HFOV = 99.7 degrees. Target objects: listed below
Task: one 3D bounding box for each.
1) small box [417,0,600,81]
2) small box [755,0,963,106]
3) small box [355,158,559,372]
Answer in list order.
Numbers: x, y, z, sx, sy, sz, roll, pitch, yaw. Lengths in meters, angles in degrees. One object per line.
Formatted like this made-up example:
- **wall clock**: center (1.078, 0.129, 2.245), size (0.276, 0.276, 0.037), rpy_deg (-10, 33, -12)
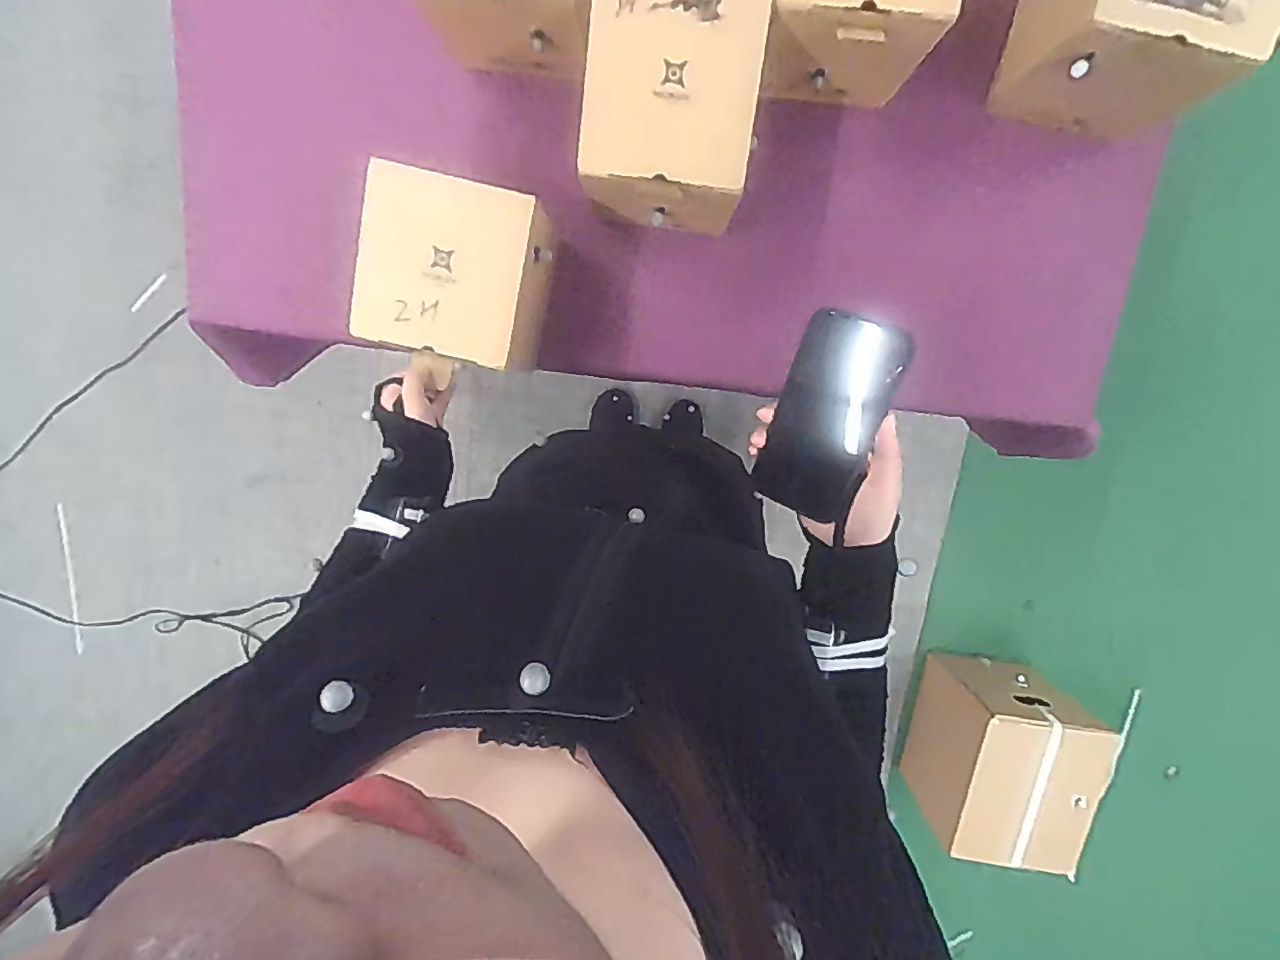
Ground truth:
- **small box**: center (-0.129, -0.555, 0.560), size (0.168, 0.176, 0.179), rpy_deg (7, 102, 0)
- **small box**: center (0.219, -0.524, 0.553), size (0.168, 0.176, 0.179), rpy_deg (5, 103, 1)
- **small box**: center (-0.196, -0.229, 0.624), size (0.168, 0.176, 0.179), rpy_deg (13, 101, -2)
